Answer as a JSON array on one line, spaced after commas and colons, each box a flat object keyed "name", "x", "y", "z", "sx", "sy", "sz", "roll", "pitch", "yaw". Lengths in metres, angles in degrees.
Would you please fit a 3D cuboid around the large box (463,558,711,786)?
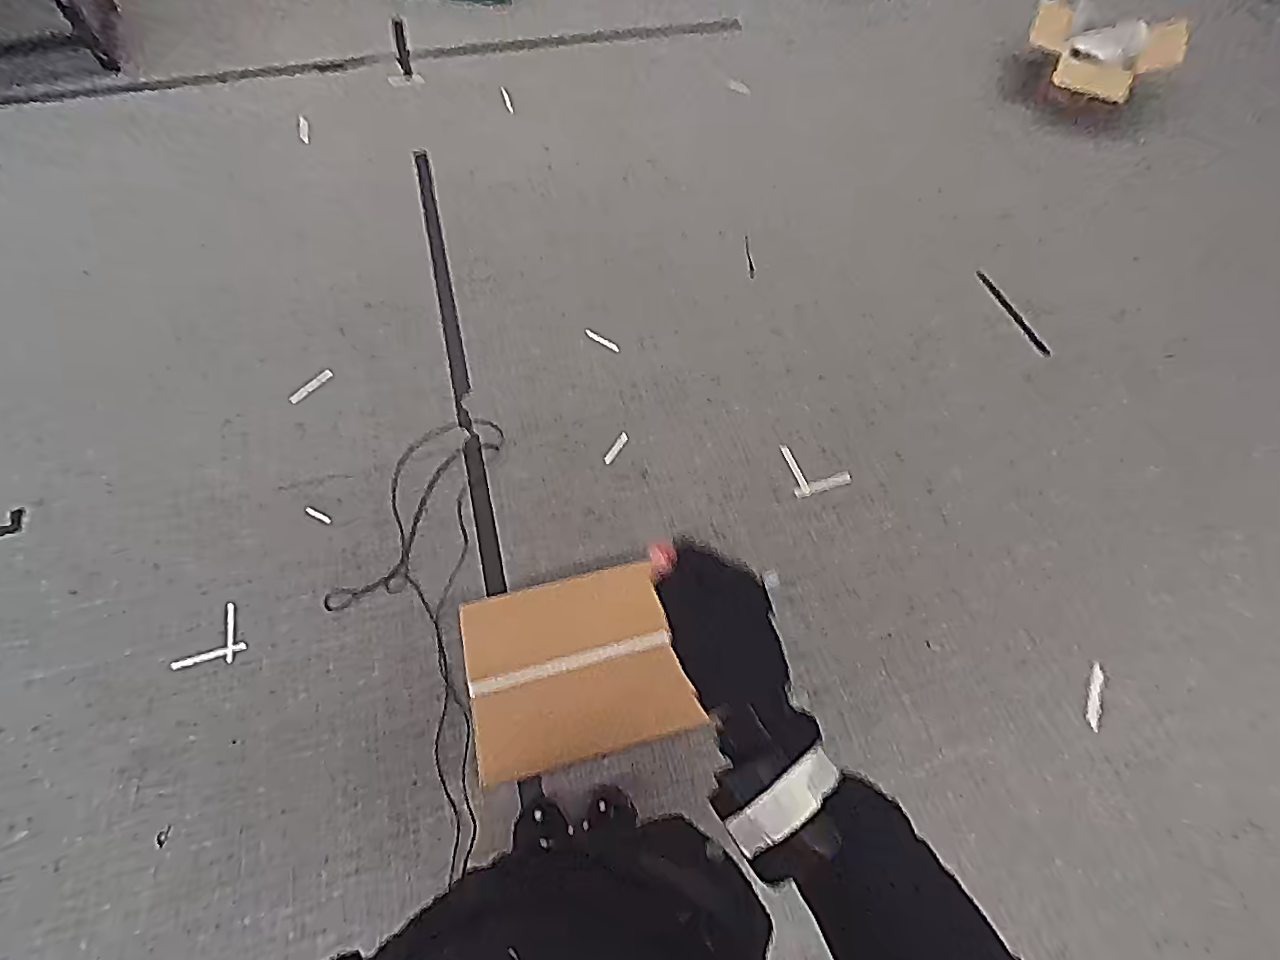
[{"name": "large box", "x": -0.111, "y": 0.398, "z": 1.115, "sx": 0.408, "sy": 0.320, "sz": 0.320, "roll": -12, "pitch": 65, "yaw": -9}]
